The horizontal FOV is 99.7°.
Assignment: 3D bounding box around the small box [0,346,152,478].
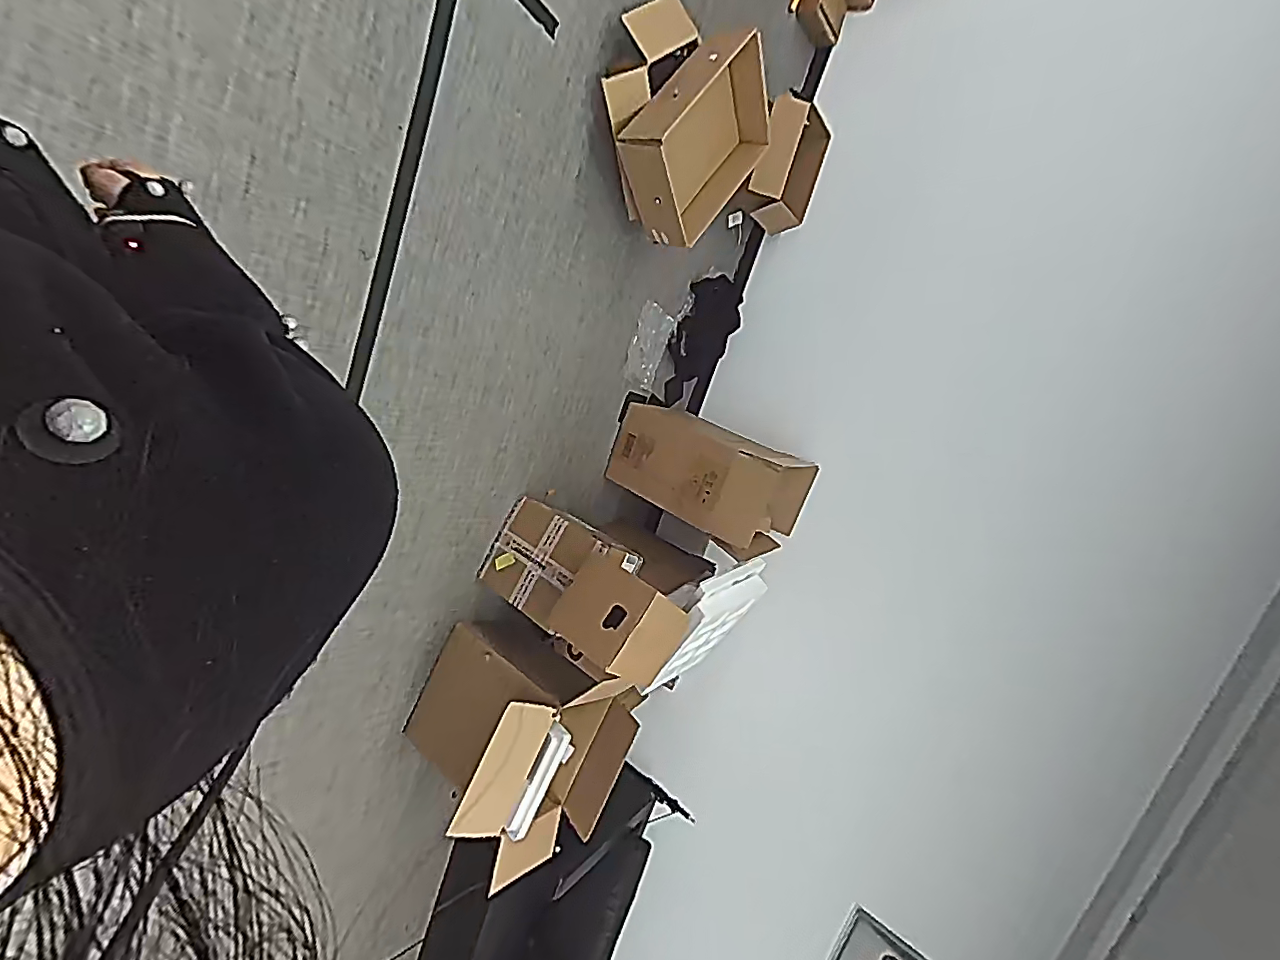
[{"bbox_3d":[-1.103,-0.140,1.032,0.168,0.176,0.179,-40,143,-34],"label":"small box"}]
